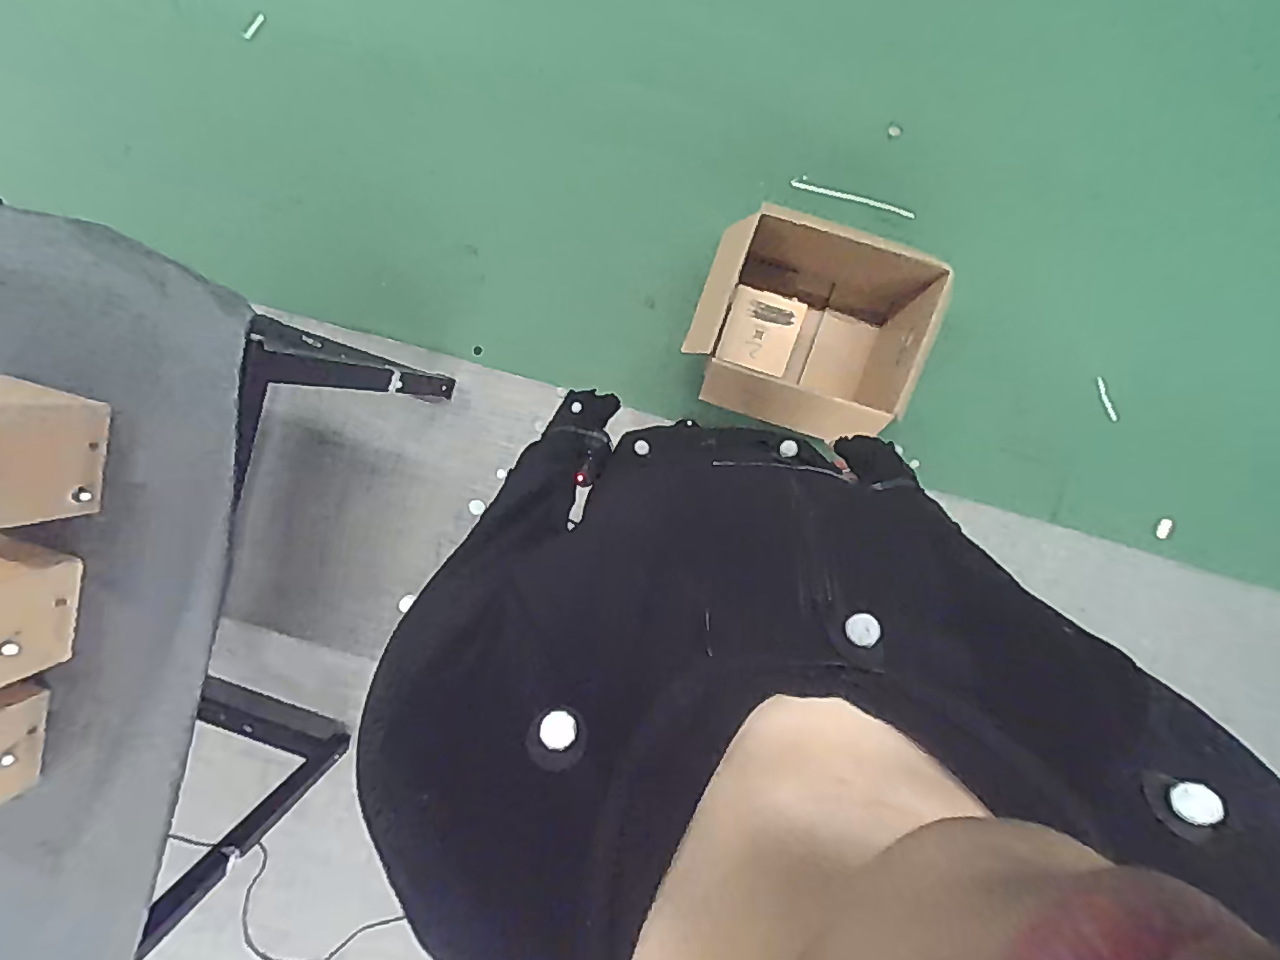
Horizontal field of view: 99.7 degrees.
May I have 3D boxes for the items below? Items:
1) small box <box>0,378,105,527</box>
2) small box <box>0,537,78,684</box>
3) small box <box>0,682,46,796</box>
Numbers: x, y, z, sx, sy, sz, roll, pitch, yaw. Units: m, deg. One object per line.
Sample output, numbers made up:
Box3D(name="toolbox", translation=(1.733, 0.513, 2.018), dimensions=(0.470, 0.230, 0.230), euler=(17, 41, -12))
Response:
Box3D(name="small box", translation=(-0.867, -0.043, 0.707), dimensions=(0.179, 0.176, 0.168), euler=(15, 97, 3))
Box3D(name="small box", translation=(-0.939, 0.184, 0.740), dimensions=(0.179, 0.176, 0.168), euler=(16, 97, 3))
Box3D(name="small box", translation=(-1.026, 0.390, 0.767), dimensions=(0.179, 0.176, 0.168), euler=(15, 97, 2))
